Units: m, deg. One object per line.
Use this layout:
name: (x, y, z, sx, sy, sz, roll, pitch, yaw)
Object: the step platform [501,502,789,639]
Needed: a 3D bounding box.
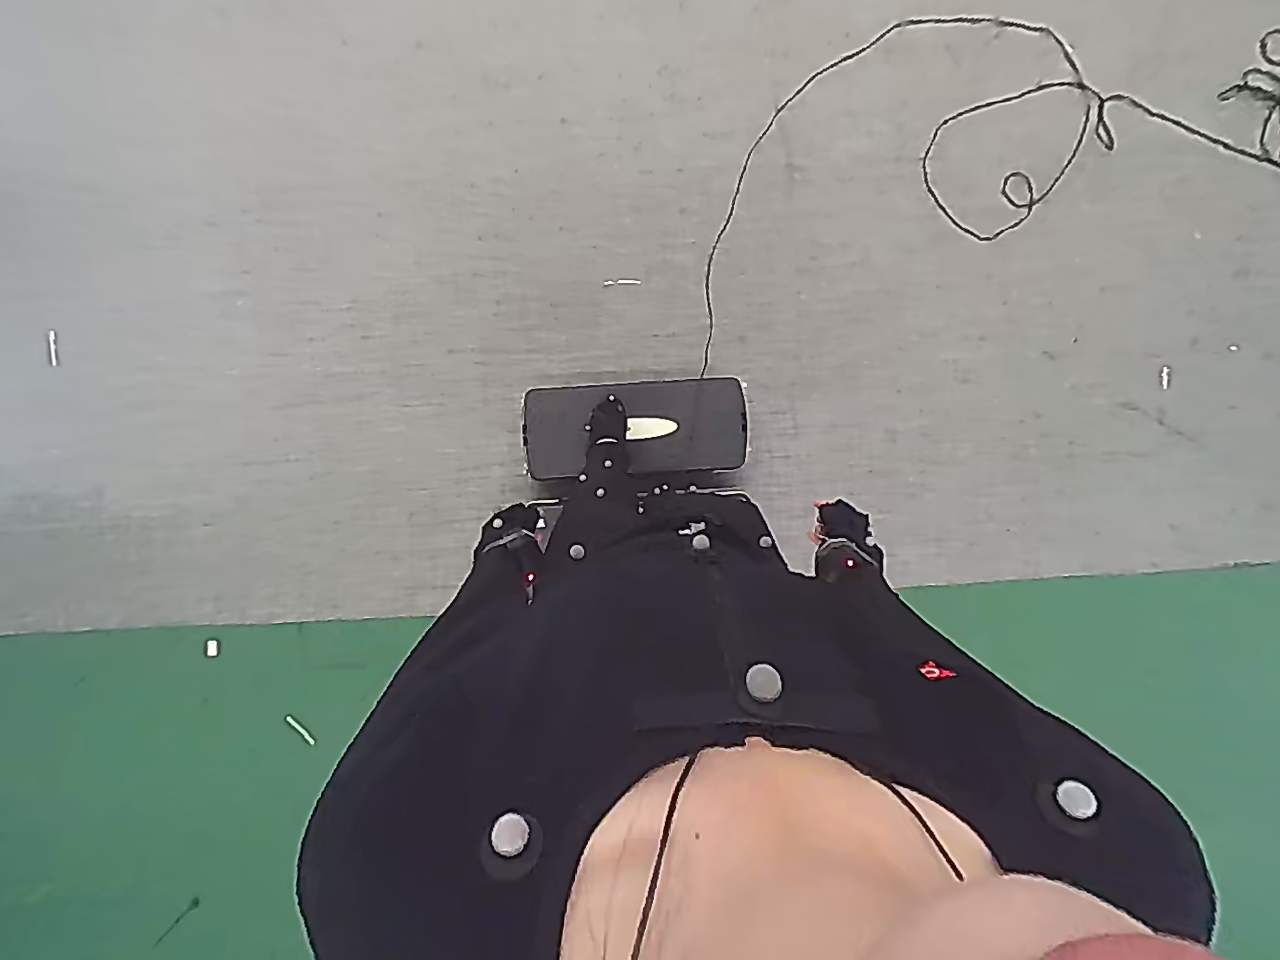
step platform: (0.010, 0.216, 1.367, 0.684, 0.204, 0.286, -3, 90, -2)
